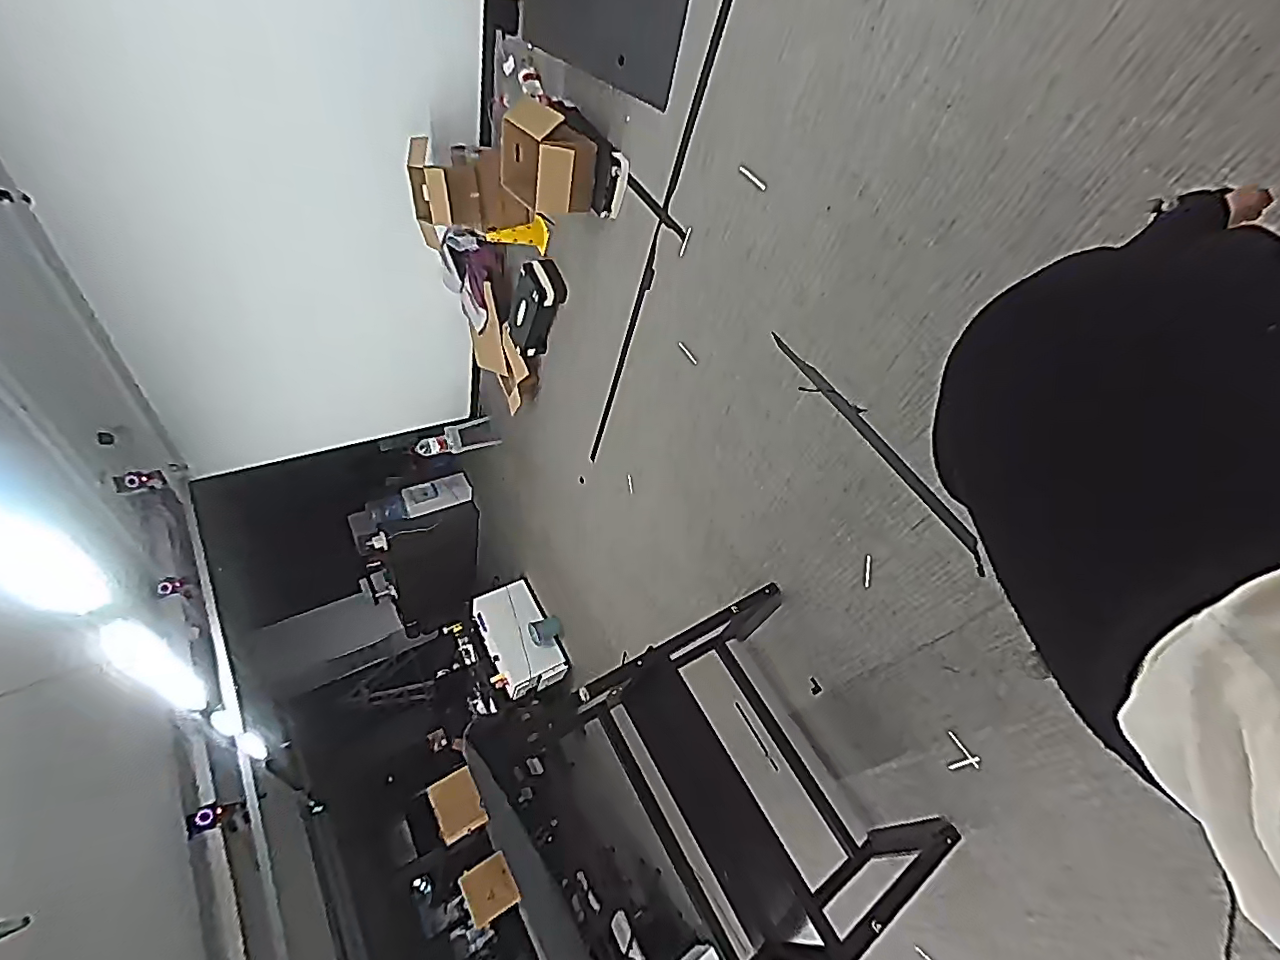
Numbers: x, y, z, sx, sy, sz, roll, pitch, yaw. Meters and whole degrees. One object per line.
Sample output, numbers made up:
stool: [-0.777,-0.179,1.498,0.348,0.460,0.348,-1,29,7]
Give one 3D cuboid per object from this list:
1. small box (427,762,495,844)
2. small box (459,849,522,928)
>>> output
small box: [-0.600,1.087,1.827,0.168,0.176,0.179,53,147,27]
small box: [-0.538,1.465,1.945,0.168,0.176,0.179,55,146,25]
